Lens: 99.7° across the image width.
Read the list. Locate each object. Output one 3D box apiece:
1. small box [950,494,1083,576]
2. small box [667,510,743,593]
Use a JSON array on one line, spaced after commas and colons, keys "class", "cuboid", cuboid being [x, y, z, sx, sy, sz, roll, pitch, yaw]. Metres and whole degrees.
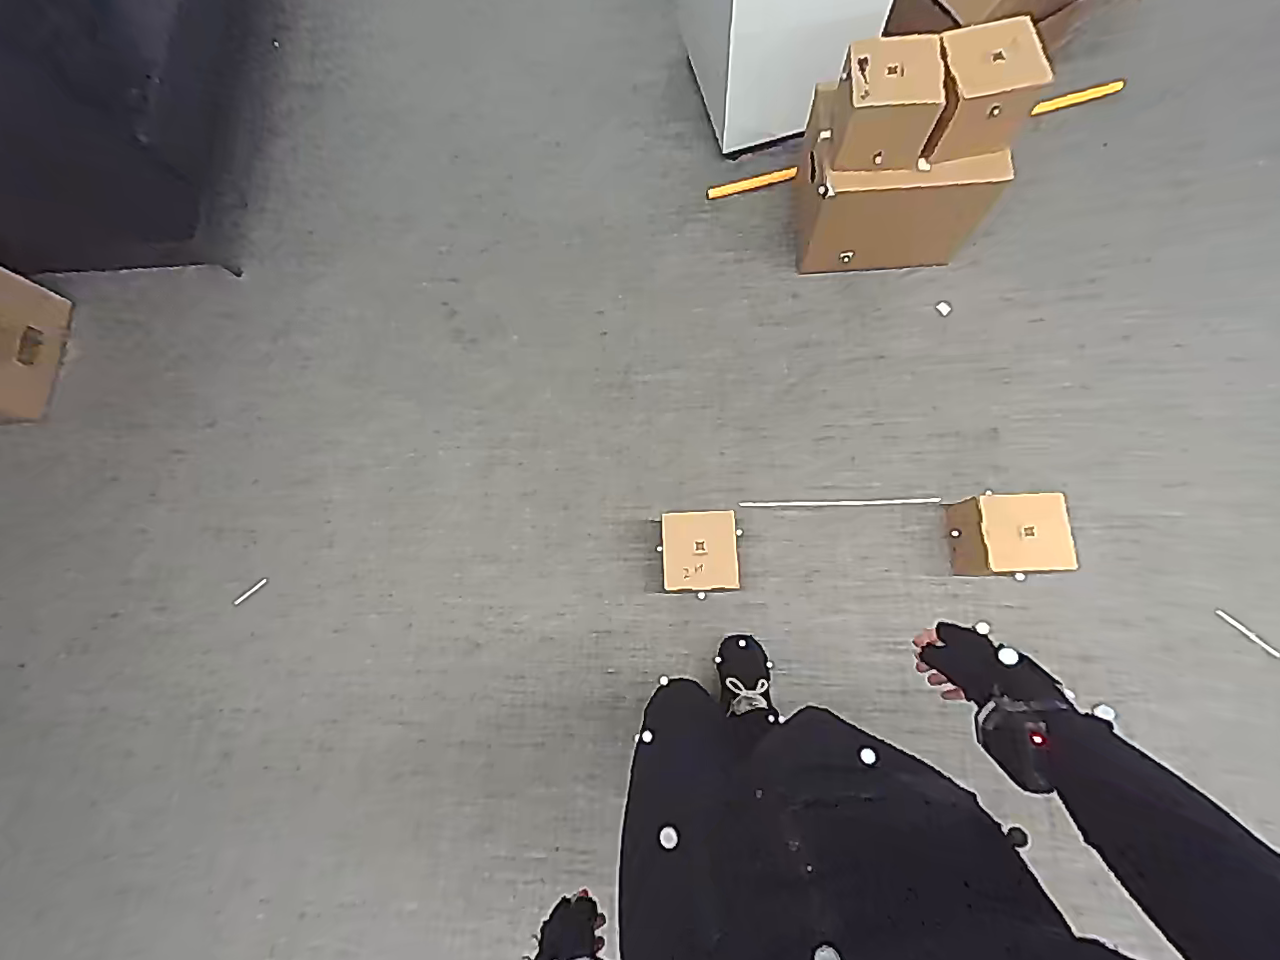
[{"class": "small box", "cuboid": [0.829, 0.127, 1.207, 0.179, 0.176, 0.168, -3, 77, 6]}, {"class": "small box", "cuboid": [0.148, 0.172, 1.267, 0.168, 0.176, 0.179, -3, 77, 6]}]
